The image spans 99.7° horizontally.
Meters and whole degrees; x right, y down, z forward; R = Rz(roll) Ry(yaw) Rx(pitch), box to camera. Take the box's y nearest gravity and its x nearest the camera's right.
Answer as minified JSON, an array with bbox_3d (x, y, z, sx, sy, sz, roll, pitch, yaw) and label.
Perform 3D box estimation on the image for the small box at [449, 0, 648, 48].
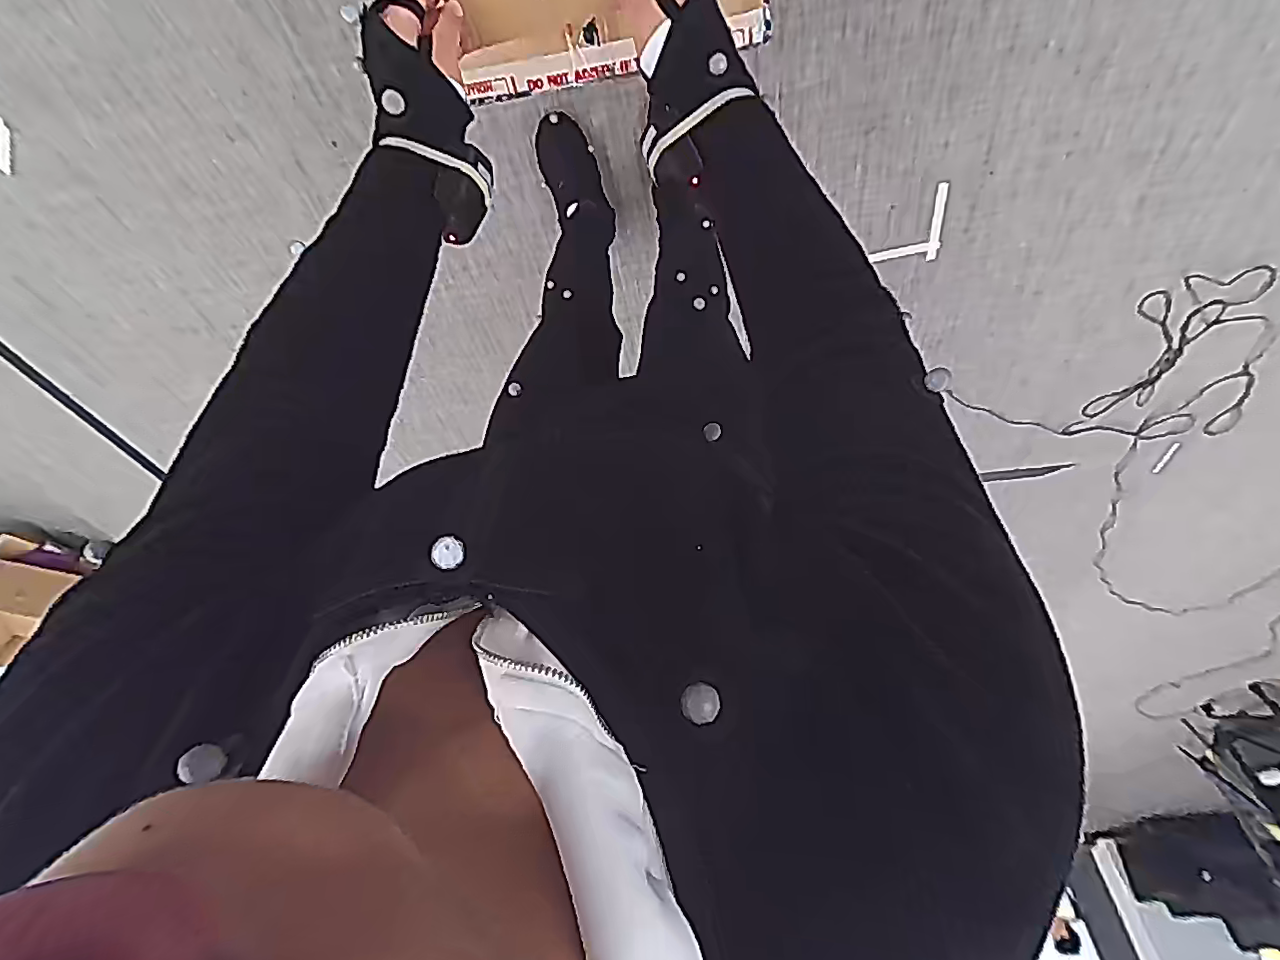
[{"bbox_3d":[-0.086,-0.501,0.443,0.168,0.176,0.179,-5,142,12],"label":"small box"}]
